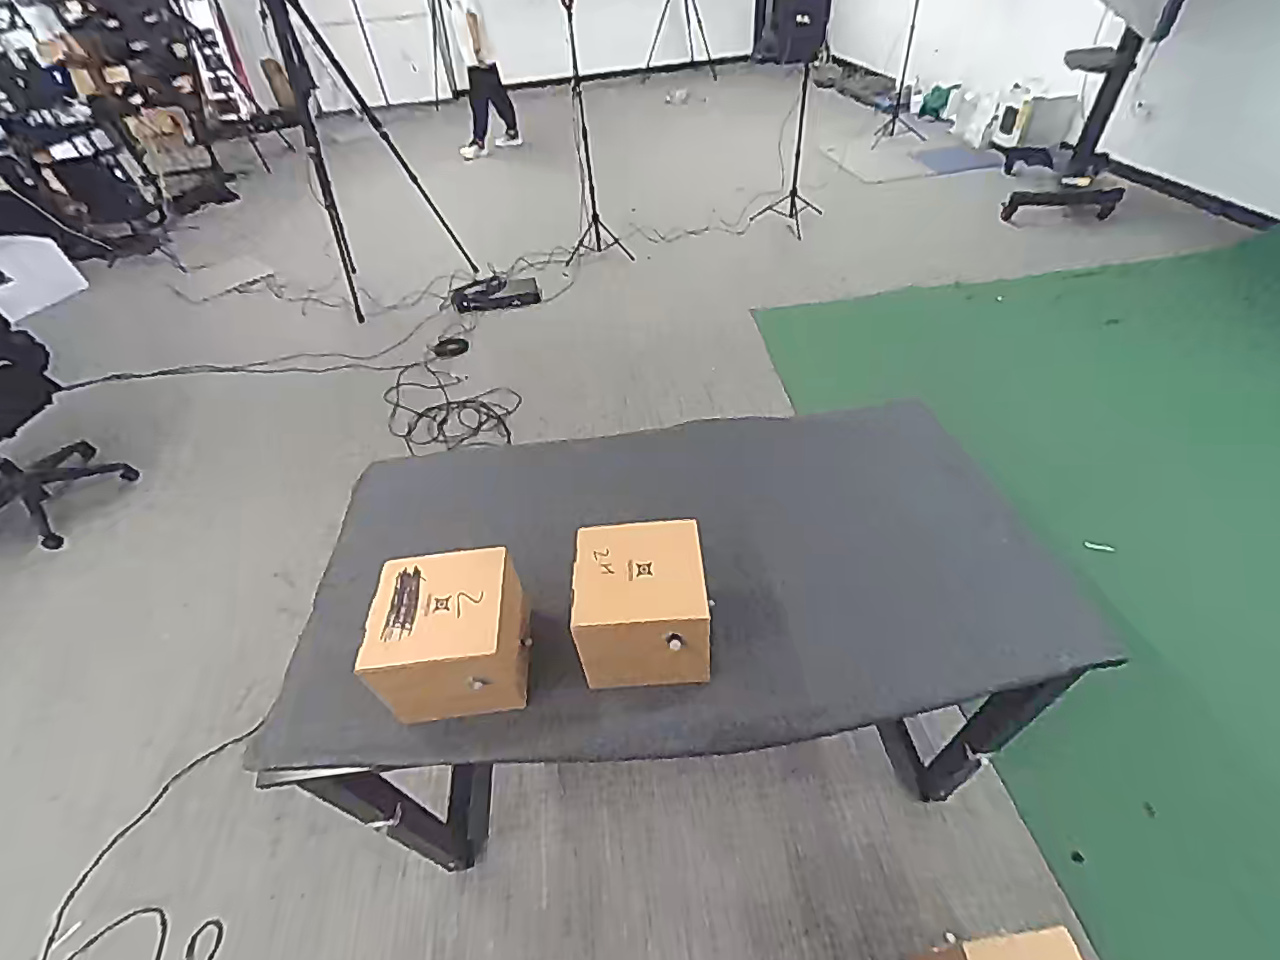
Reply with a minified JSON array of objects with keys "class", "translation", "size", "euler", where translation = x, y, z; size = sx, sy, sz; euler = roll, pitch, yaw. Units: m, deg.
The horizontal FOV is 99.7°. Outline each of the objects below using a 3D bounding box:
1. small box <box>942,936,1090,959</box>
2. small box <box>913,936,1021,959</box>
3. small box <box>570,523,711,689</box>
[{"class":"small box","translation":[0.613,0.836,0.850],"size":[0.179,0.176,0.168],"euler":[-7,46,-1]},{"class":"small box","translation":[0.623,0.951,0.968],"size":[0.168,0.176,0.179],"euler":[-9,44,-2]},{"class":"small box","translation":[0.006,0.183,0.775],"size":[0.179,0.176,0.168],"euler":[-5,43,3]}]
